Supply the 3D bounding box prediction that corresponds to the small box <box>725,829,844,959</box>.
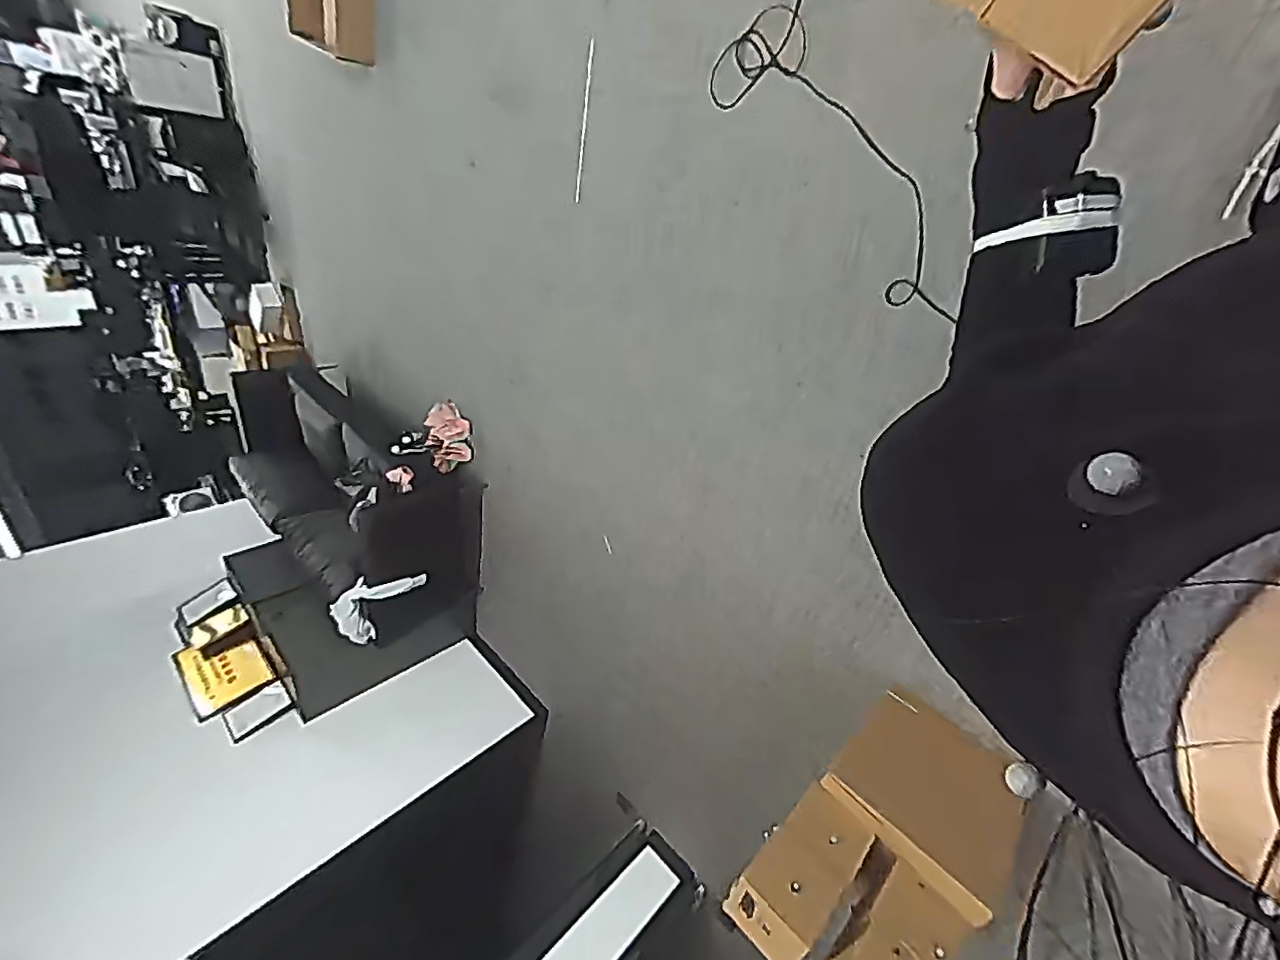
[{"bbox_3d":[0.329,0.941,1.232,0.179,0.176,0.168,34,127,30],"label":"small box"}]
